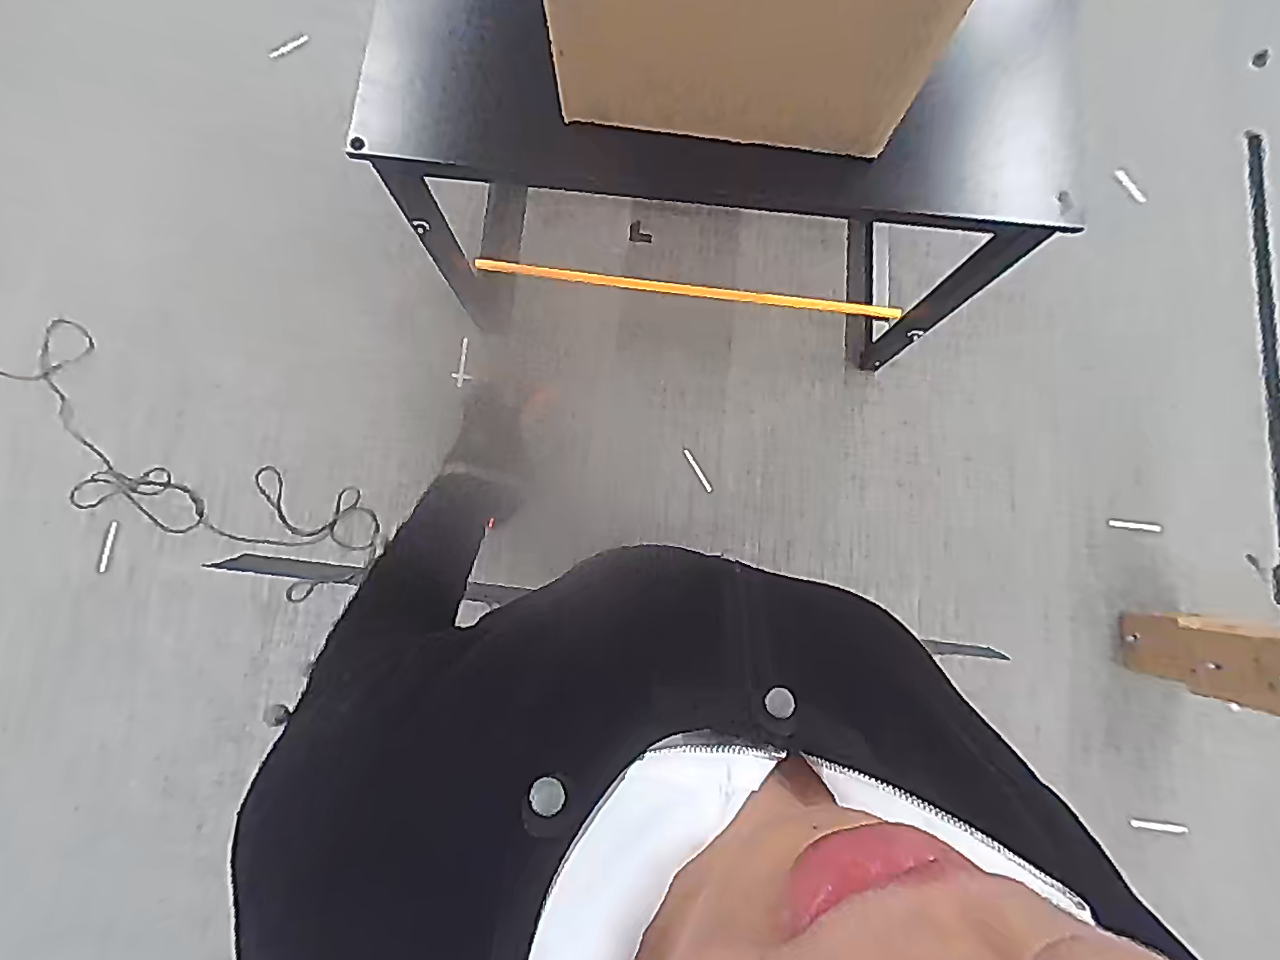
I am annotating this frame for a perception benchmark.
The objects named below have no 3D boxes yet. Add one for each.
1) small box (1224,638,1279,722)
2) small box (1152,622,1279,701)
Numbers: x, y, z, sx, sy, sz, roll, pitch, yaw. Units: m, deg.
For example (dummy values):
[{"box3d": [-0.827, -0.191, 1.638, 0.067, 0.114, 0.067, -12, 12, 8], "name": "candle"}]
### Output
[{"box3d": [1.461, 0.446, 1.197, 0.179, 0.176, 0.168, -1, 82, -1], "name": "small box"}, {"box3d": [1.459, 0.451, 1.361, 0.179, 0.176, 0.168, -1, 81, 0], "name": "small box"}]
